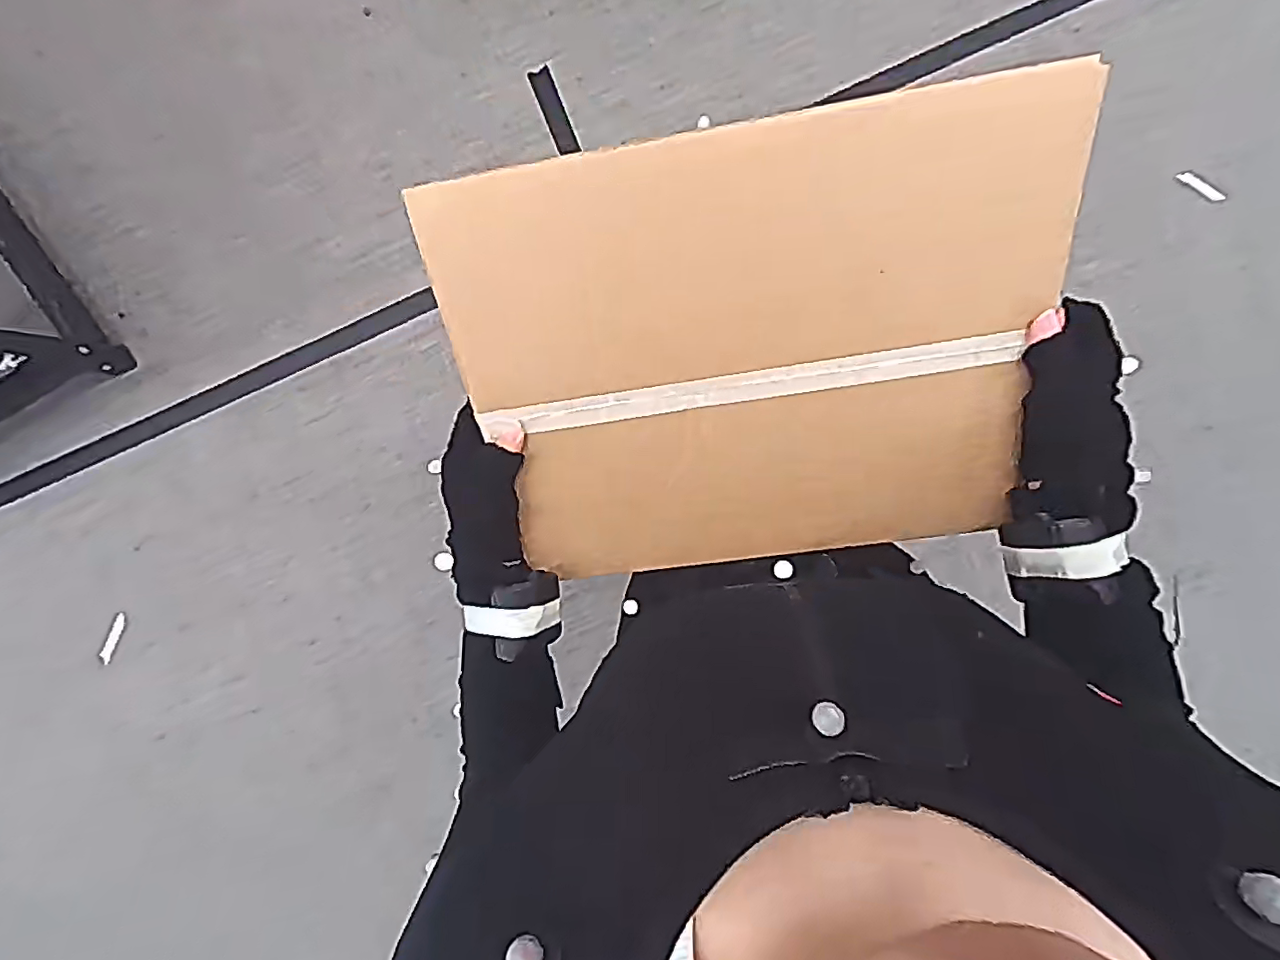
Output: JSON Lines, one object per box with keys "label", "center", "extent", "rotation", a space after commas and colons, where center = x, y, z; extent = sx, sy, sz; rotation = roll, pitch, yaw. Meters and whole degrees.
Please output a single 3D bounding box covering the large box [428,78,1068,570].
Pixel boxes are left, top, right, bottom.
{"label": "large box", "center": [0.083, -0.149, 0.532], "extent": [0.408, 0.320, 0.320], "rotation": [-8, 119, 6]}
